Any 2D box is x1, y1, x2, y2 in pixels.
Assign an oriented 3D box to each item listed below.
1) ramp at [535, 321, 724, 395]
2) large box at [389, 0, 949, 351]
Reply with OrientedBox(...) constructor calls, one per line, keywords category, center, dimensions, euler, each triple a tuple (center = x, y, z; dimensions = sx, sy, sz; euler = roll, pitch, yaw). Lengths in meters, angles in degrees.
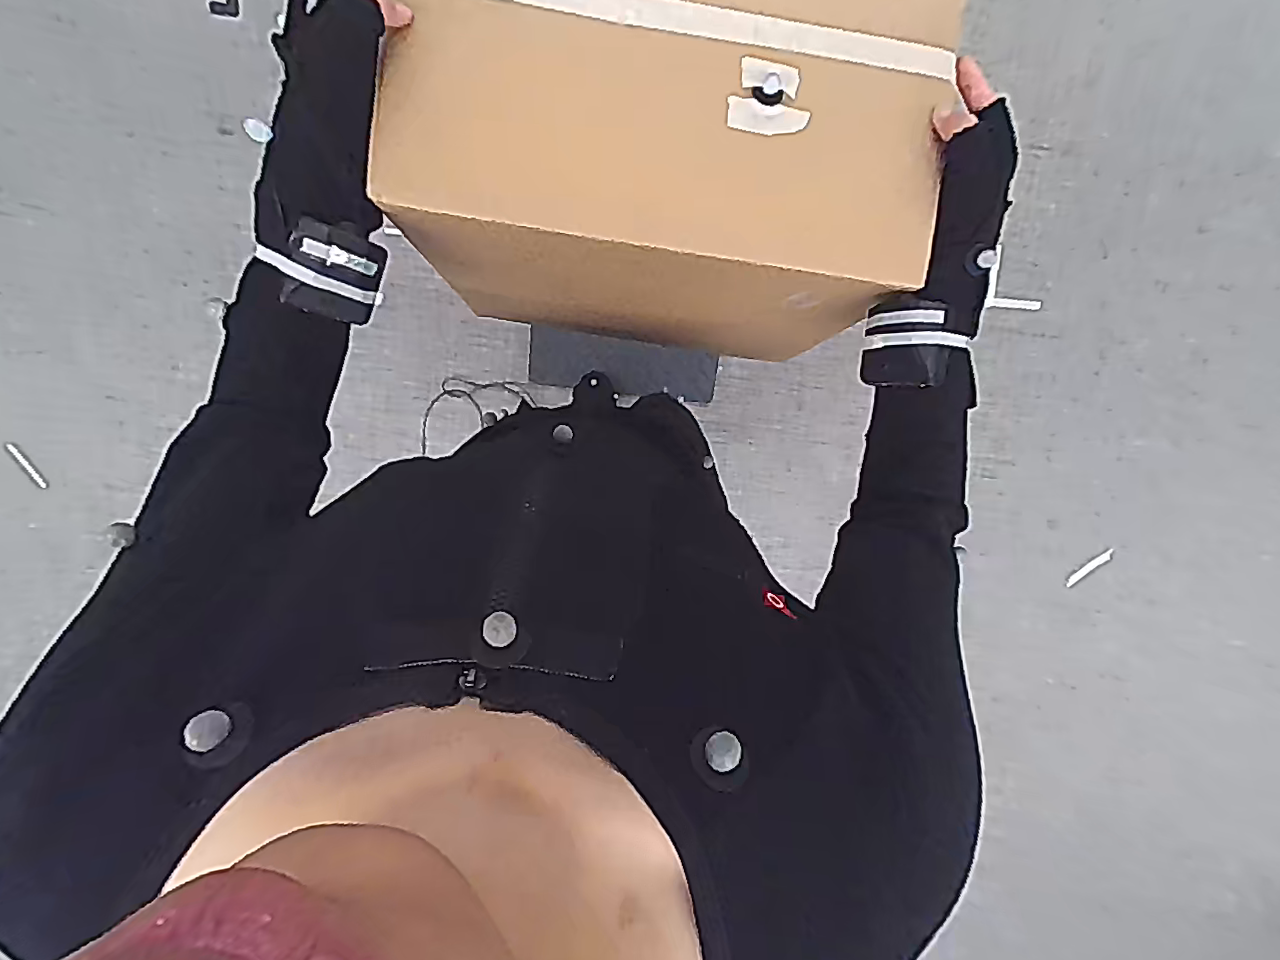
OrientedBox(category="ramp", center=(0.015, -0.719, 1.290), dimensions=(0.509, 0.206, 0.991), euler=(4, 98, -3))
OrientedBox(category="large box", center=(0.019, -0.336, 0.547), dimensions=(0.408, 0.320, 0.320), euler=(7, 92, -4))
